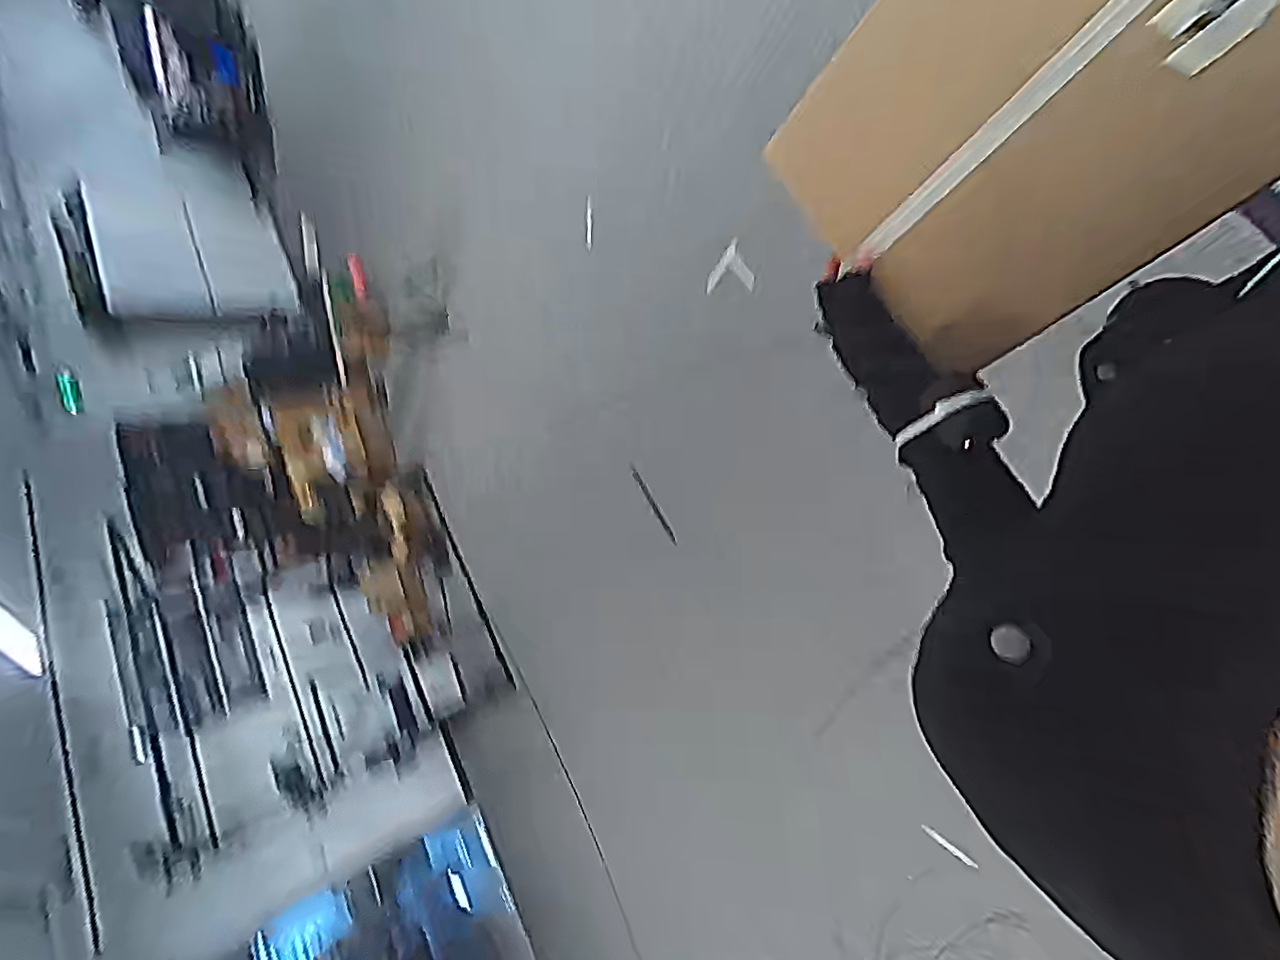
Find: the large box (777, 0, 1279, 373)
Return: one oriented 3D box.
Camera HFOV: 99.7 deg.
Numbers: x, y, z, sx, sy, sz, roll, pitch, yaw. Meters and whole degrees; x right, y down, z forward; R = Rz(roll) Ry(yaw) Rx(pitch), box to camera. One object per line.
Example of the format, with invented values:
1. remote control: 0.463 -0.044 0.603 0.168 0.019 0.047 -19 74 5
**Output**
1. large box: 0.425 -0.367 0.525 0.320 0.320 0.408 56 136 8
